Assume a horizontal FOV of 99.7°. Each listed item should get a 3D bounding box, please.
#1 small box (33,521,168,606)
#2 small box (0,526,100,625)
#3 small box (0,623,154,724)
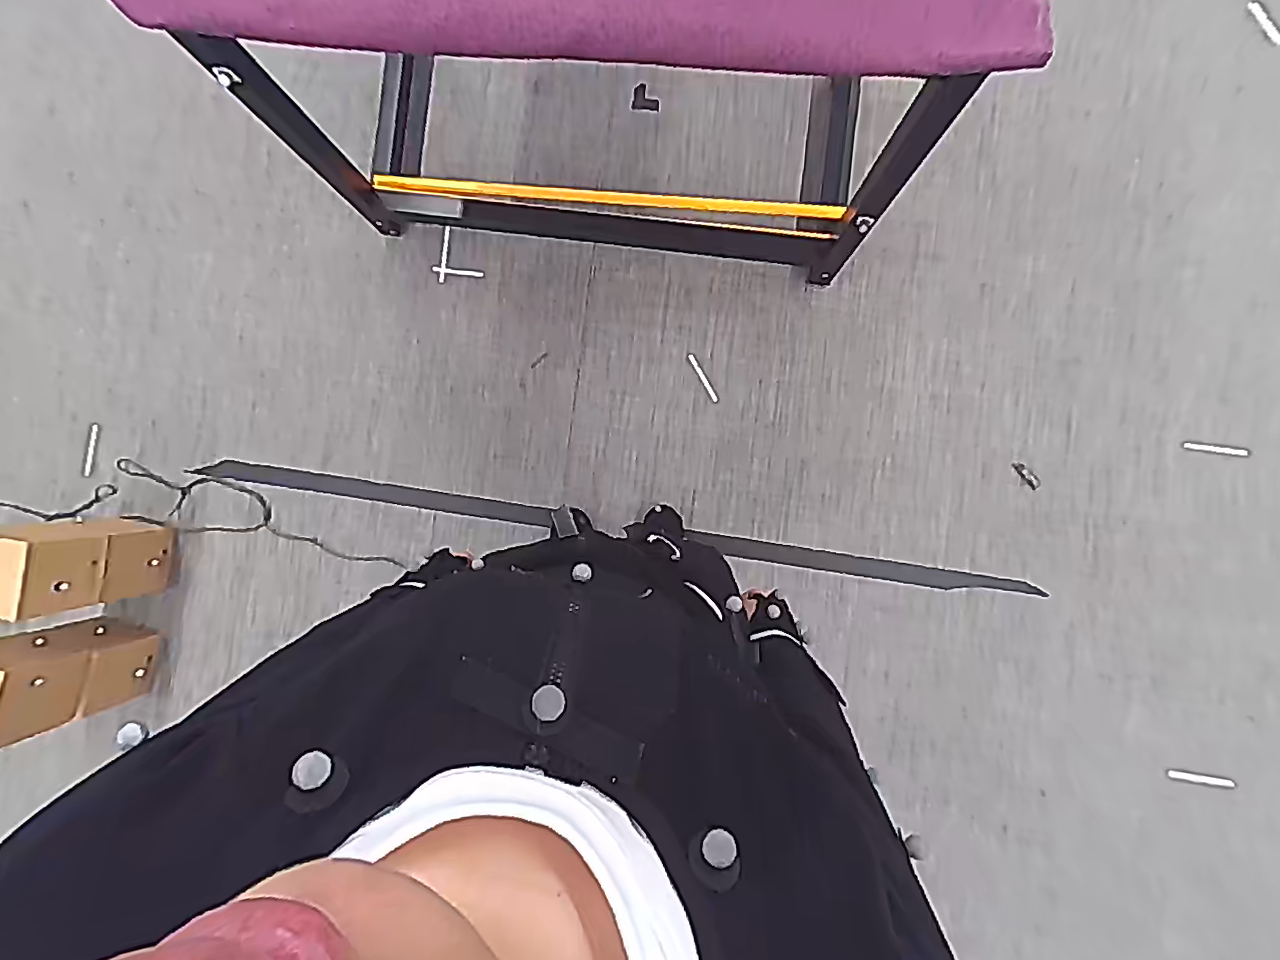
[{"bbox_3d":[-1.317,0.195,1.315,0.179,0.176,0.168,9,90,1],"label":"small box"},{"bbox_3d":[-1.323,0.195,1.153,0.179,0.176,0.168,9,90,3],"label":"small box"},{"bbox_3d":[-1.350,0.458,1.309,0.179,0.176,0.168,15,89,1],"label":"small box"}]
